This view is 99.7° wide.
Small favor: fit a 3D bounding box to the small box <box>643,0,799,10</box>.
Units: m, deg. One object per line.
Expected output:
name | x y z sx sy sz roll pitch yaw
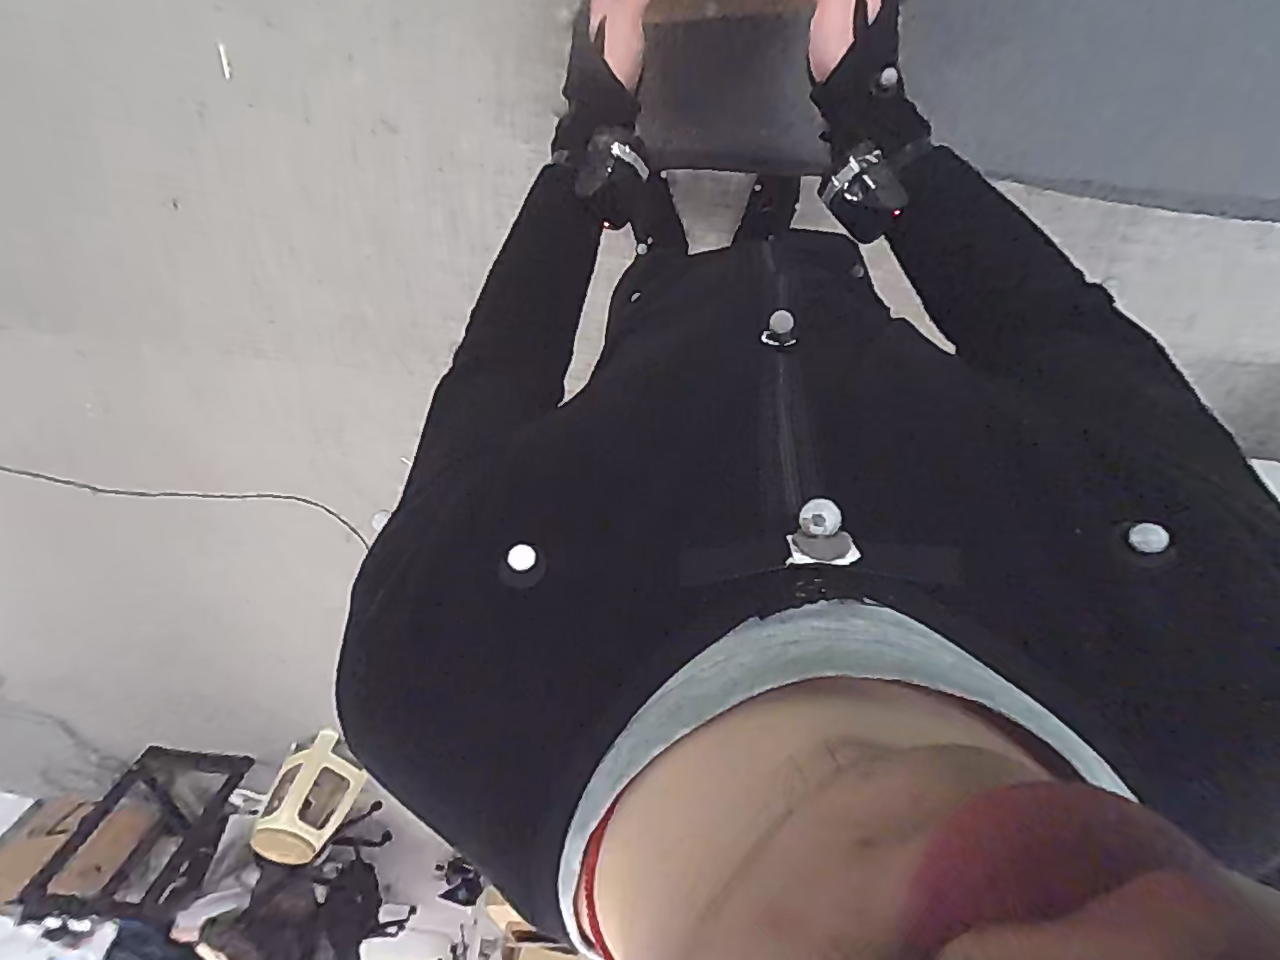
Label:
small box | 0.078 -0.488 0.420 0.179 0.176 0.168 0 124 3
